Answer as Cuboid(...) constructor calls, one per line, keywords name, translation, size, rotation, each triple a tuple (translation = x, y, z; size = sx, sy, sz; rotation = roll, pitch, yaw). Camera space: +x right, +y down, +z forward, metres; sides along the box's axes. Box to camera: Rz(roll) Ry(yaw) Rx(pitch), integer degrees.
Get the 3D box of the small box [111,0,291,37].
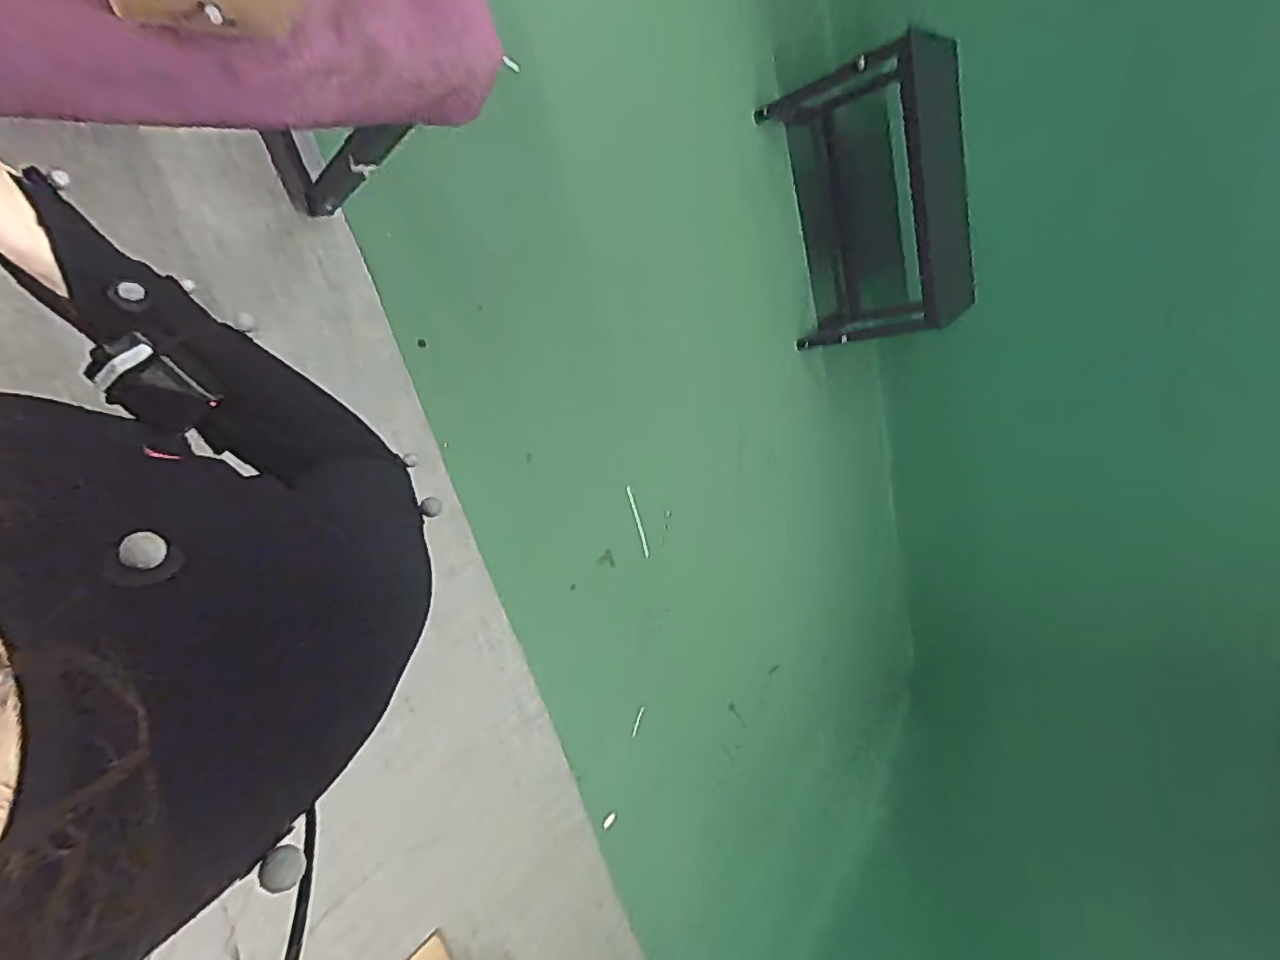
Cuboid(name="small box", translation=(-0.472, -0.599, 0.541), size=(0.168, 0.176, 0.179), rotation=(-32, 114, -40))
